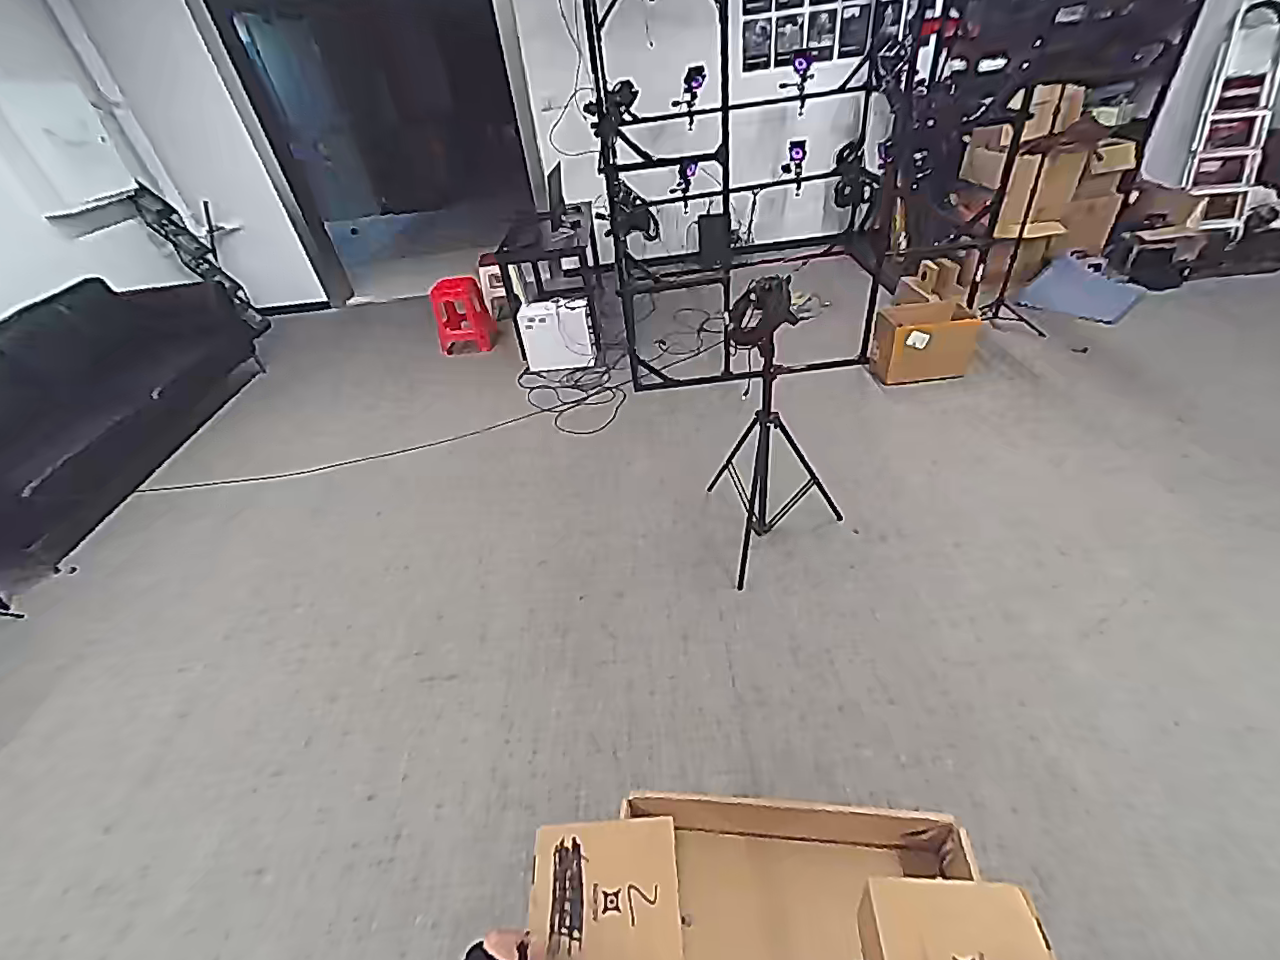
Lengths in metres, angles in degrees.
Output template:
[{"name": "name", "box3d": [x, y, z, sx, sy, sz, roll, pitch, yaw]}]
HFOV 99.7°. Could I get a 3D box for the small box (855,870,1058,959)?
[{"name": "small box", "box3d": [0.357, 0.572, 0.609, 0.179, 0.176, 0.168, -3, 36, 9]}]
